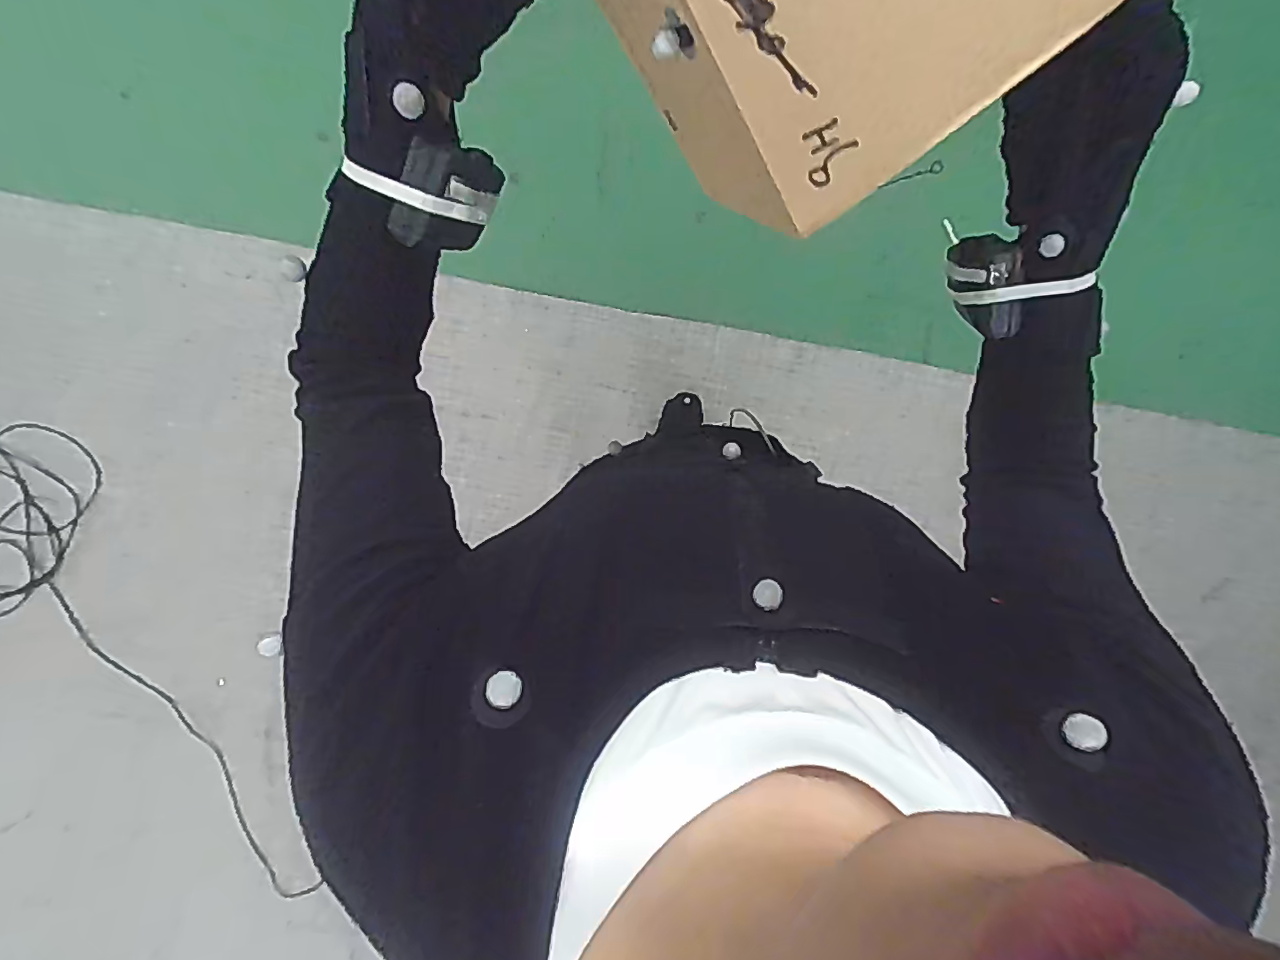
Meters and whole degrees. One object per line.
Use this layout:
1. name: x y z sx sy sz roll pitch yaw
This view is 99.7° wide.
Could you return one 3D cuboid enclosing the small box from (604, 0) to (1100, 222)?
1. small box: 0.090 -0.270 0.274 0.179 0.176 0.168 -35 124 12
